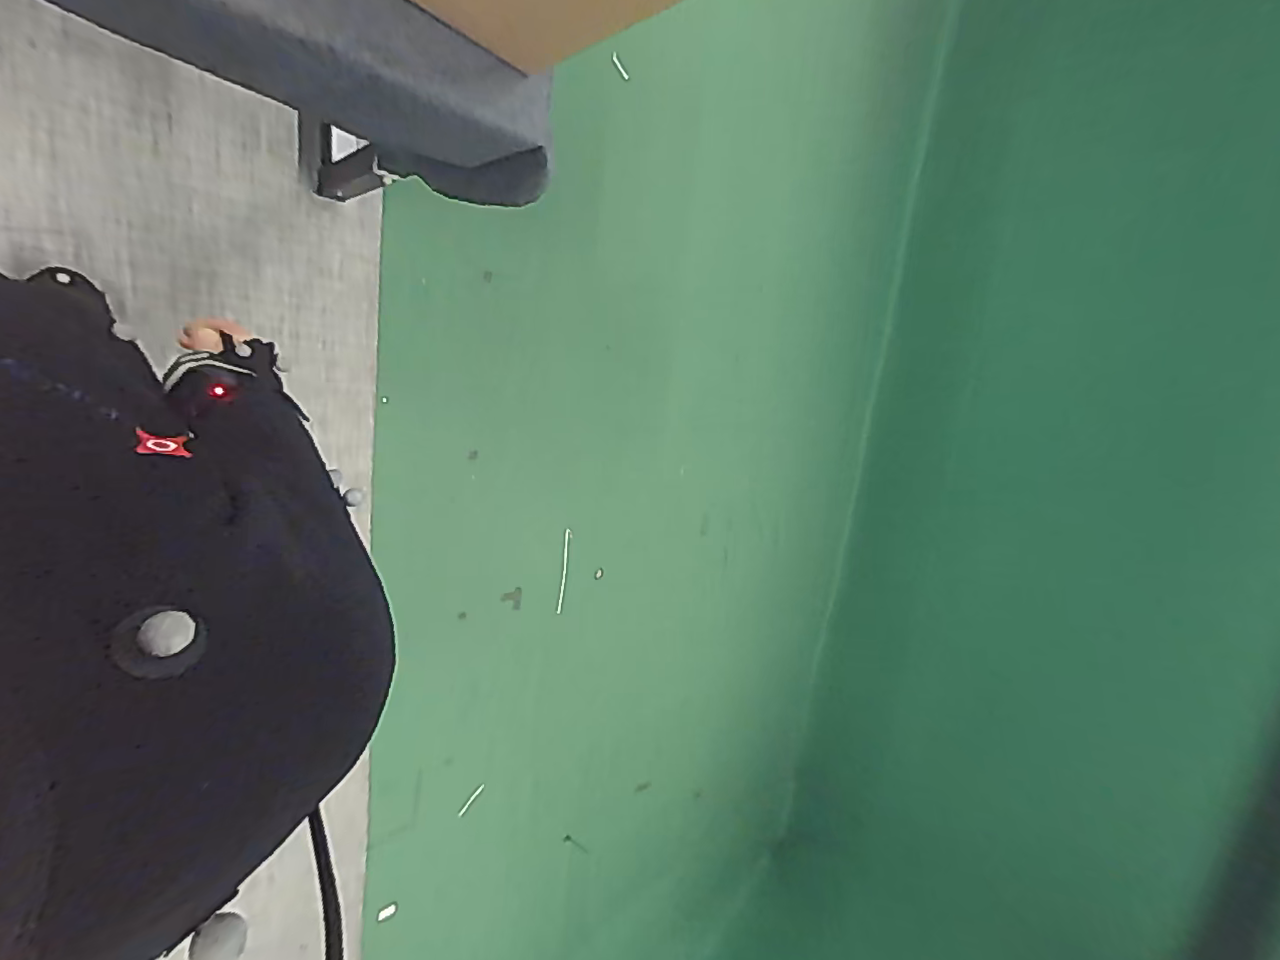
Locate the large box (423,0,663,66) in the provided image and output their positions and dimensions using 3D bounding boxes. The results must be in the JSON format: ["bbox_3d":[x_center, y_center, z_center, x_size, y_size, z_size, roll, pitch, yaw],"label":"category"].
[{"bbox_3d":[-0.146,-0.635,0.425,0.408,0.320,0.320,-2,104,-48],"label":"large box"}]
